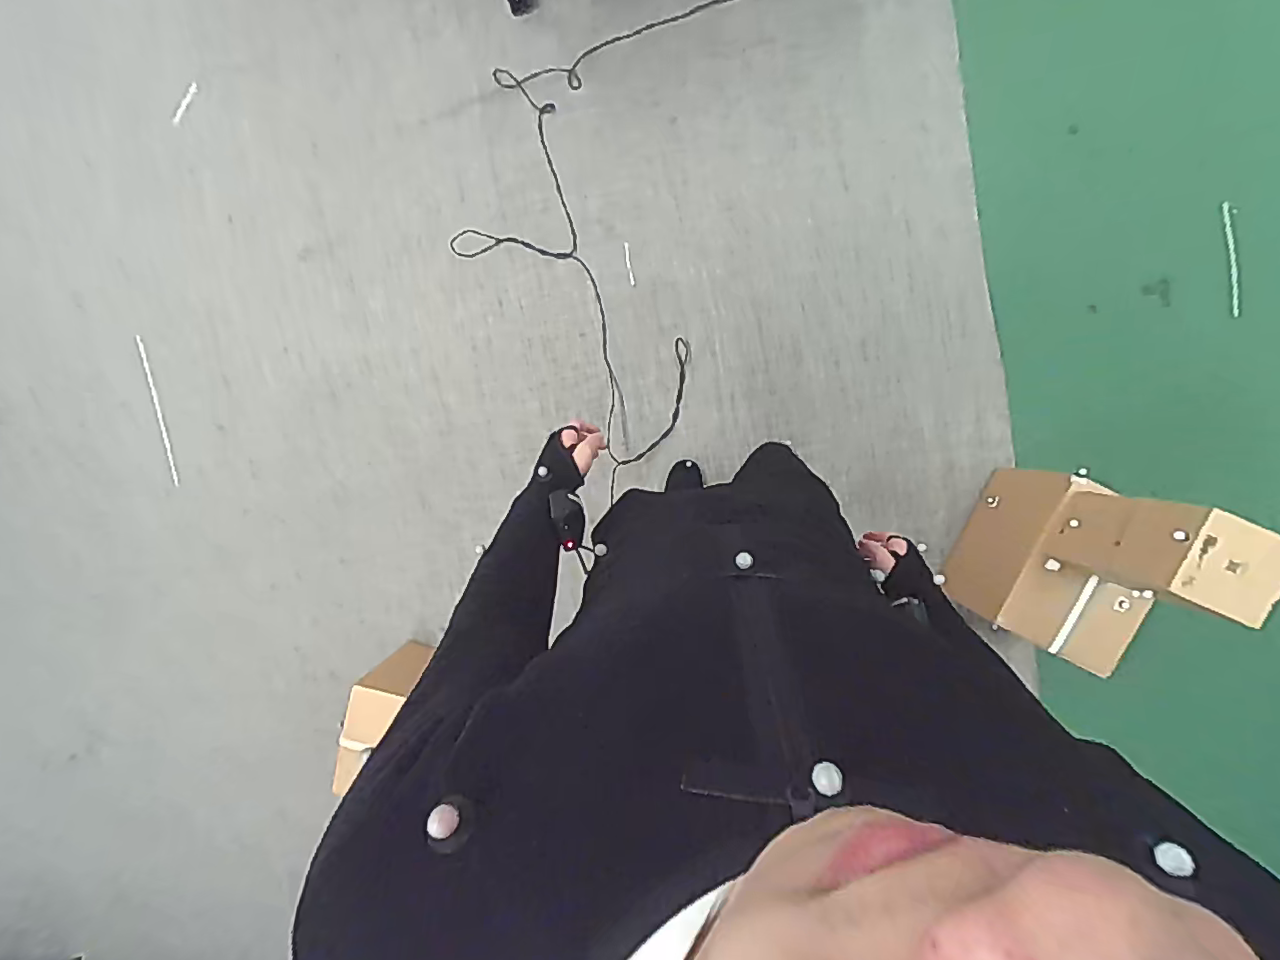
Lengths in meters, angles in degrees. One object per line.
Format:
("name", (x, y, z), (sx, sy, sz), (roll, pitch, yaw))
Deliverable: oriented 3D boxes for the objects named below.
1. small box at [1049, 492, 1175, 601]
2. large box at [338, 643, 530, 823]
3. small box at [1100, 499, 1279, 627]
("small box", (1.070, 0.136, 1.191), (0.179, 0.176, 0.168), (25, 95, 2))
("large box", (-0.573, 0.705, 1.562), (0.408, 0.320, 0.320), (13, 96, 0))
("small box", (1.051, 0.146, 1.028), (0.179, 0.176, 0.168), (24, 96, 1))
